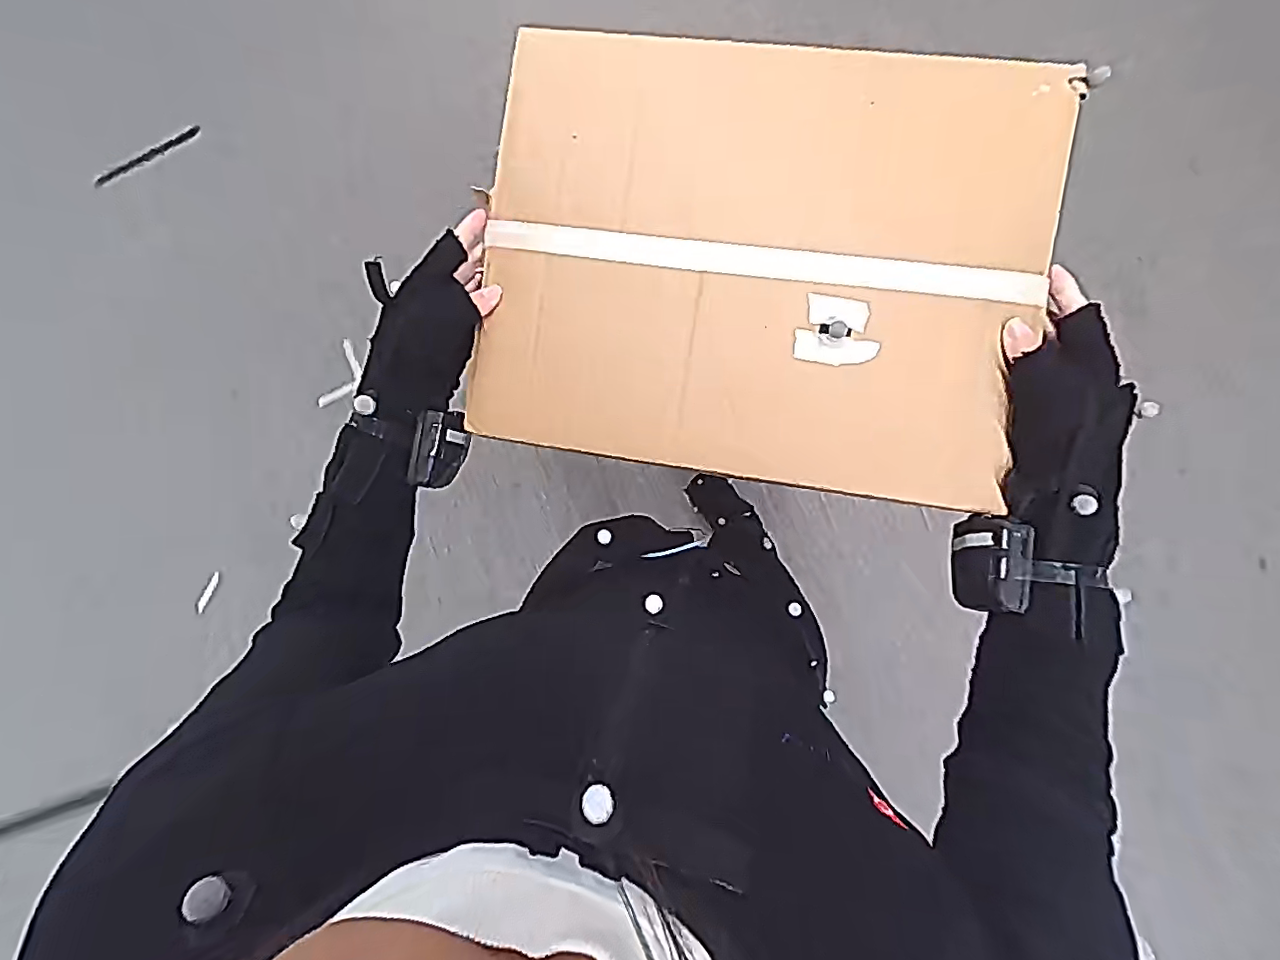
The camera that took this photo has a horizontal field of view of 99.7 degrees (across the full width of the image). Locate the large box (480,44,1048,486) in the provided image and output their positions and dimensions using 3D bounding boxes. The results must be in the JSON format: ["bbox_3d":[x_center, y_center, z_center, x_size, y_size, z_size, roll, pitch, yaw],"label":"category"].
[{"bbox_3d":[0.094,-0.172,0.560,0.408,0.320,0.320,8,93,5],"label":"large box"}]
